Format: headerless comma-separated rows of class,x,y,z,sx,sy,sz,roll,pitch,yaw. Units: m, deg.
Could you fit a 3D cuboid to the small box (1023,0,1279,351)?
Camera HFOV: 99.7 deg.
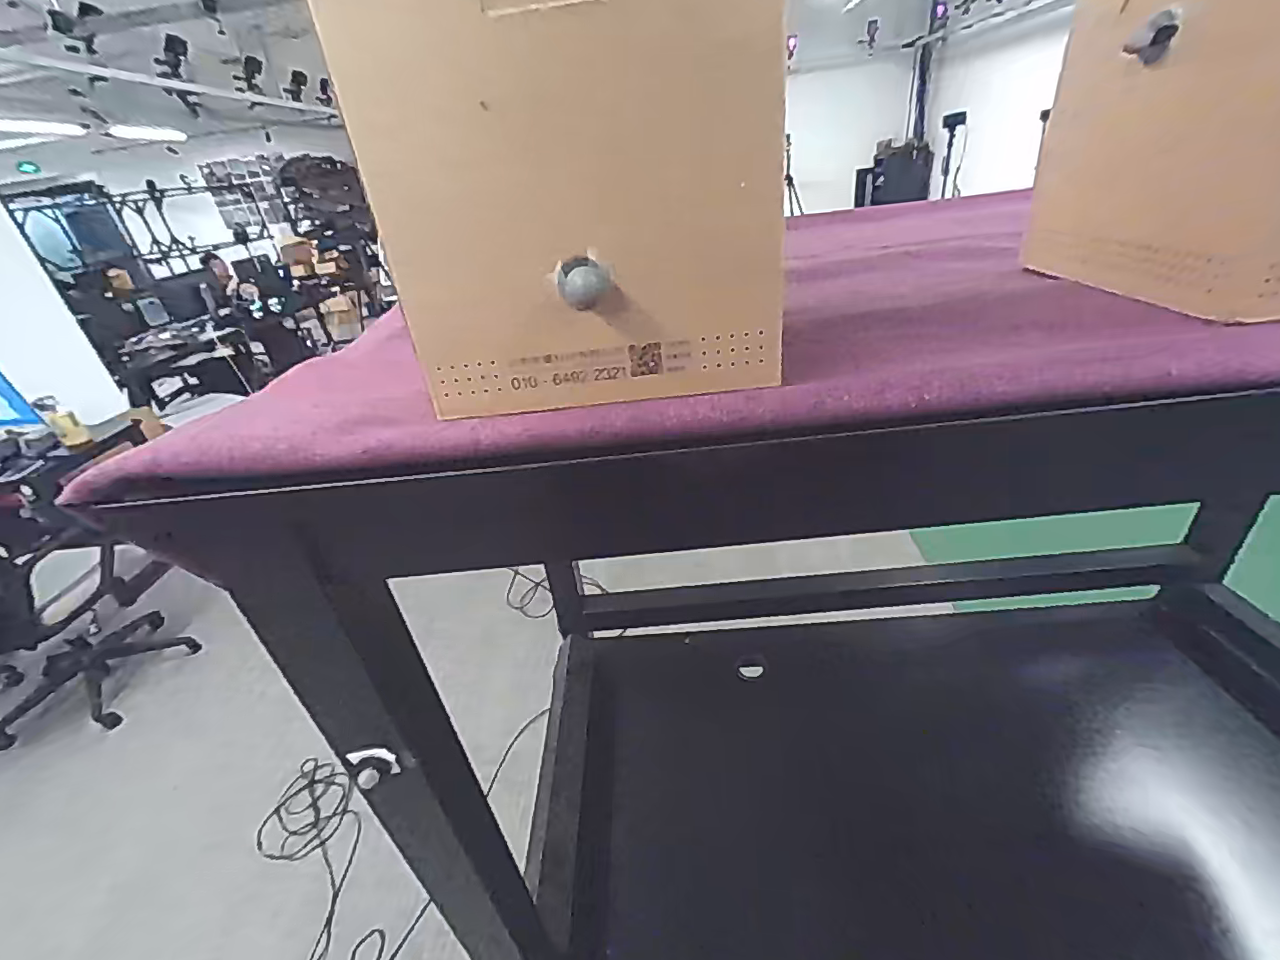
small box,0.345,-0.177,0.282,0.168,0.176,0.179,-5,32,5

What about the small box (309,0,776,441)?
small box,-0.027,-0.135,0.293,0.168,0.176,0.179,-6,30,4
